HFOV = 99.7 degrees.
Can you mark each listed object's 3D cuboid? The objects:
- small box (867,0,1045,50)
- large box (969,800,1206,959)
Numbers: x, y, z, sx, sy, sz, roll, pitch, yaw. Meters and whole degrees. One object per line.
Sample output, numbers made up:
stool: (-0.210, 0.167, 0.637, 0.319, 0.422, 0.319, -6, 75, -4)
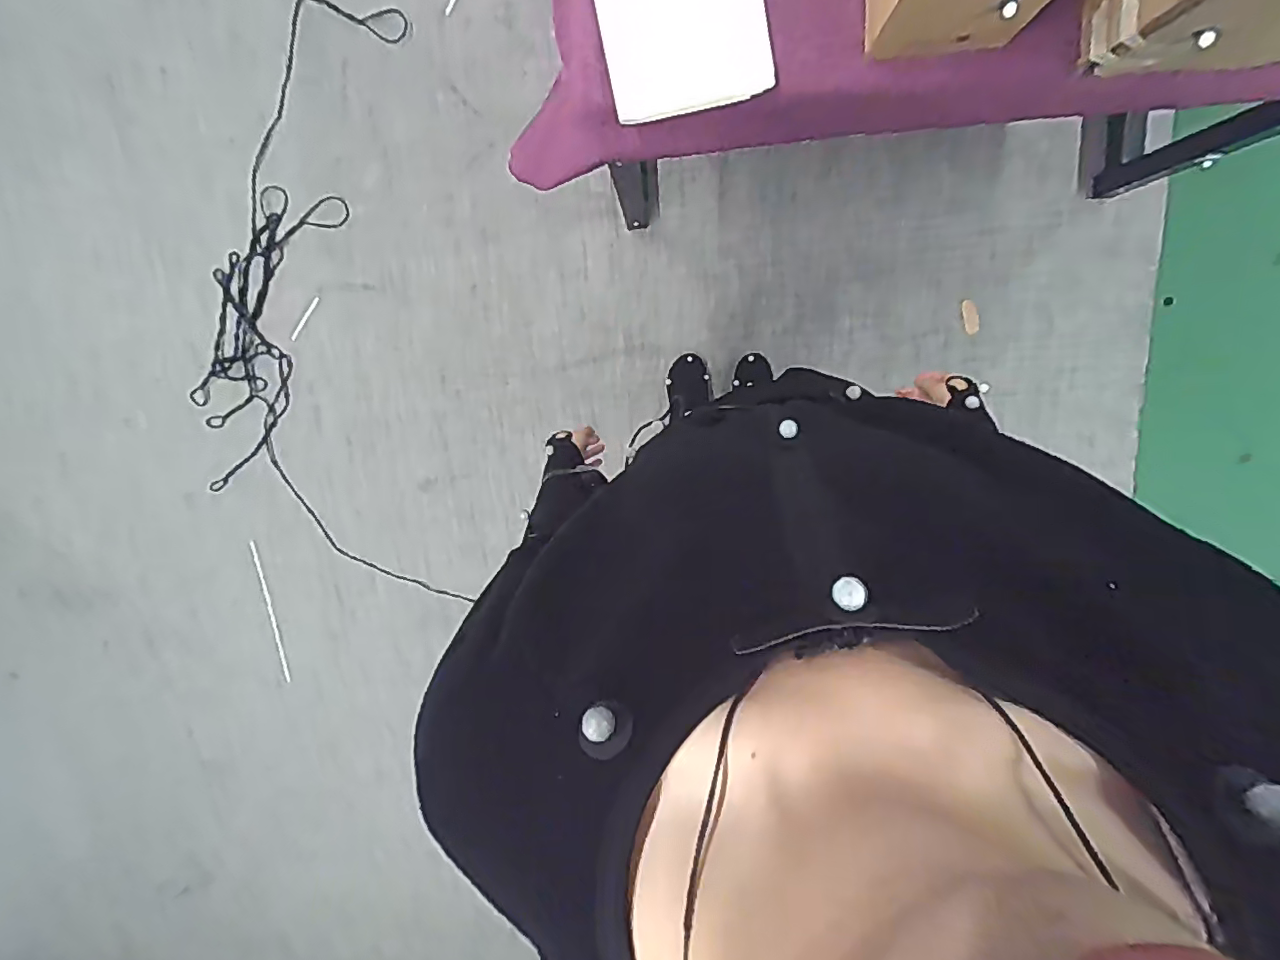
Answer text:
small box: (0.345, -0.577, 0.551, 0.168, 0.176, 0.179, -2, 100, 3)
large box: (1.248, 1.198, 1.542, 0.408, 0.320, 0.320, -18, 101, 6)
